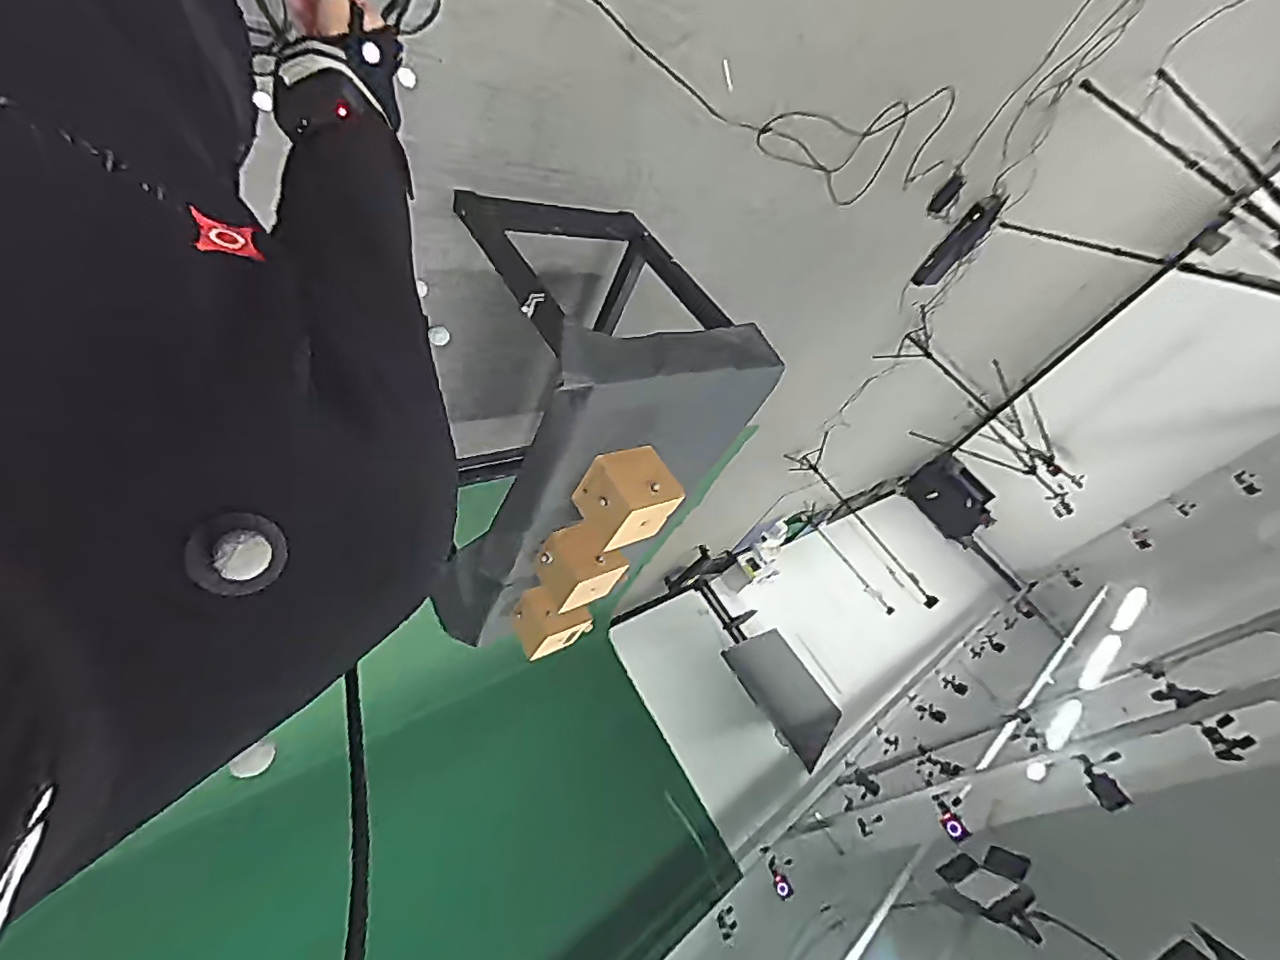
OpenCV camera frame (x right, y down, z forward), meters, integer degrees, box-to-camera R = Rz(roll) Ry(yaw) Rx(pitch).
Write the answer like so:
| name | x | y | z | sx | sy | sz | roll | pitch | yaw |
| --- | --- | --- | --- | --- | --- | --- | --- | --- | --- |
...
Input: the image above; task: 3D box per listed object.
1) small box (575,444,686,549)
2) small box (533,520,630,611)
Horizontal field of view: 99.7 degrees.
| name | x | y | z | sx | sy | sz | roll | pitch | yaw |
| --- | --- | --- | --- | --- | --- | --- | --- | --- | --- |
| small box | -0.030 | 0.034 | 1.305 | 0.179 | 0.176 | 0.168 | -15 | 150 | -42 |
| small box | -0.166 | 0.227 | 1.498 | 0.179 | 0.176 | 0.168 | -13 | 148 | -41 |
